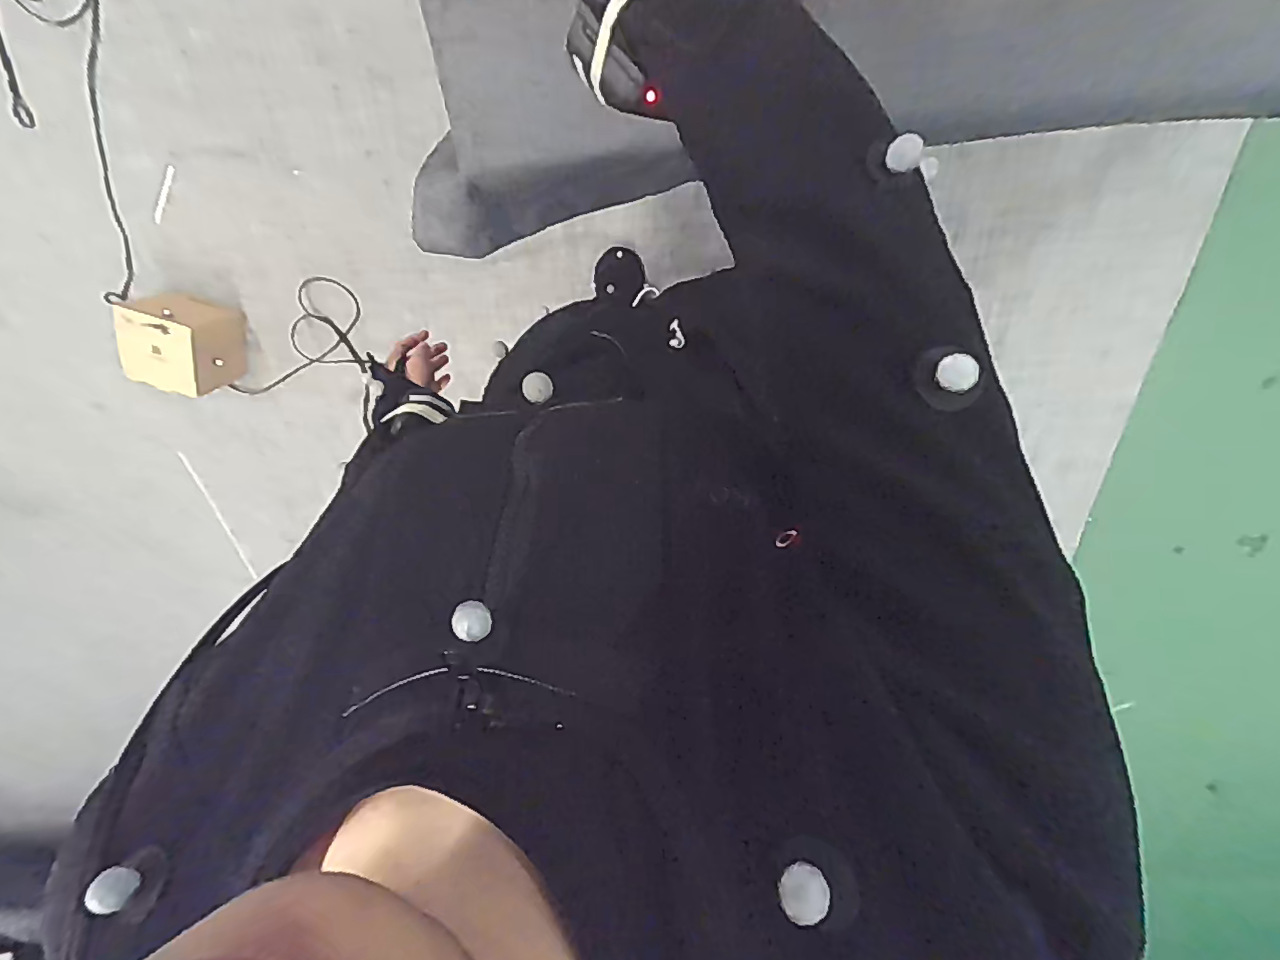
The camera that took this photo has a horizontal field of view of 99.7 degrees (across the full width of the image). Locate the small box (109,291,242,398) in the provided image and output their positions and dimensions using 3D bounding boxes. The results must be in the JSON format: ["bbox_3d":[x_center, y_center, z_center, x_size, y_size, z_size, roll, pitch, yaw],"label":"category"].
[{"bbox_3d":[-1.073,-0.322,1.269,0.168,0.176,0.179,17,120,-6],"label":"small box"}]
